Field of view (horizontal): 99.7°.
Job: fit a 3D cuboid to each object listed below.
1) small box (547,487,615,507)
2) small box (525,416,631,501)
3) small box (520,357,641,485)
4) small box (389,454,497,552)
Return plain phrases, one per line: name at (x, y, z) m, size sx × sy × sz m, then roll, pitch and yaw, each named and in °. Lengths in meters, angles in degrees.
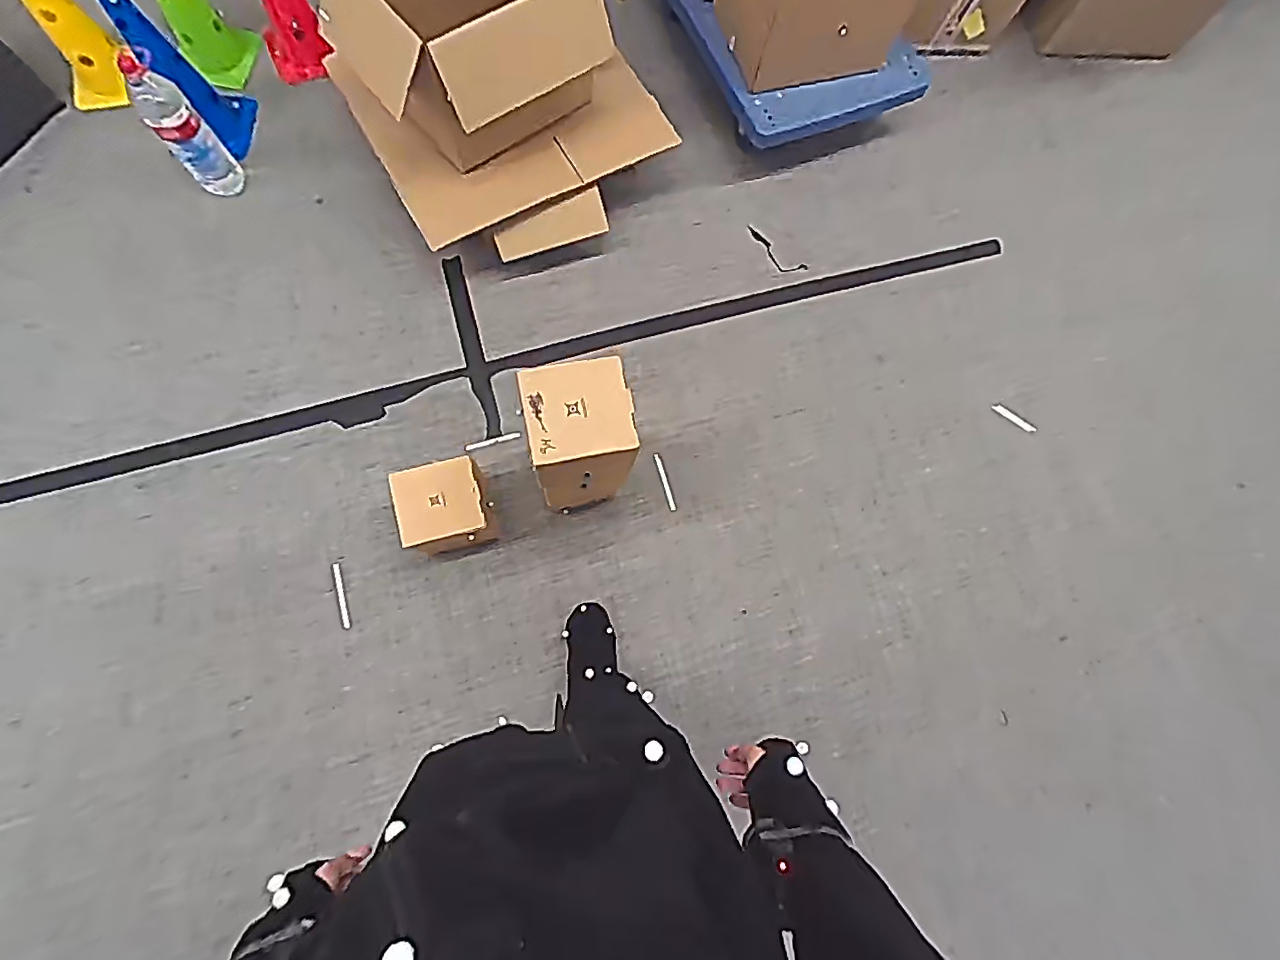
small box at (-0.155, -0.043, 1.272) m, size 0.168 × 0.176 × 0.179 m, roll -16°, pitch 79°, yaw -10°
small box at (-0.127, -0.064, 1.110) m, size 0.179 × 0.176 × 0.168 m, roll -14°, pitch 80°, yaw -10°
small box at (-0.108, -0.097, 0.950) m, size 0.179 × 0.176 × 0.168 m, roll -10°, pitch 79°, yaw -10°
small box at (-0.436, 0.059, 1.218) m, size 0.179 × 0.176 × 0.168 m, roll -15°, pitch 79°, yaw -10°
